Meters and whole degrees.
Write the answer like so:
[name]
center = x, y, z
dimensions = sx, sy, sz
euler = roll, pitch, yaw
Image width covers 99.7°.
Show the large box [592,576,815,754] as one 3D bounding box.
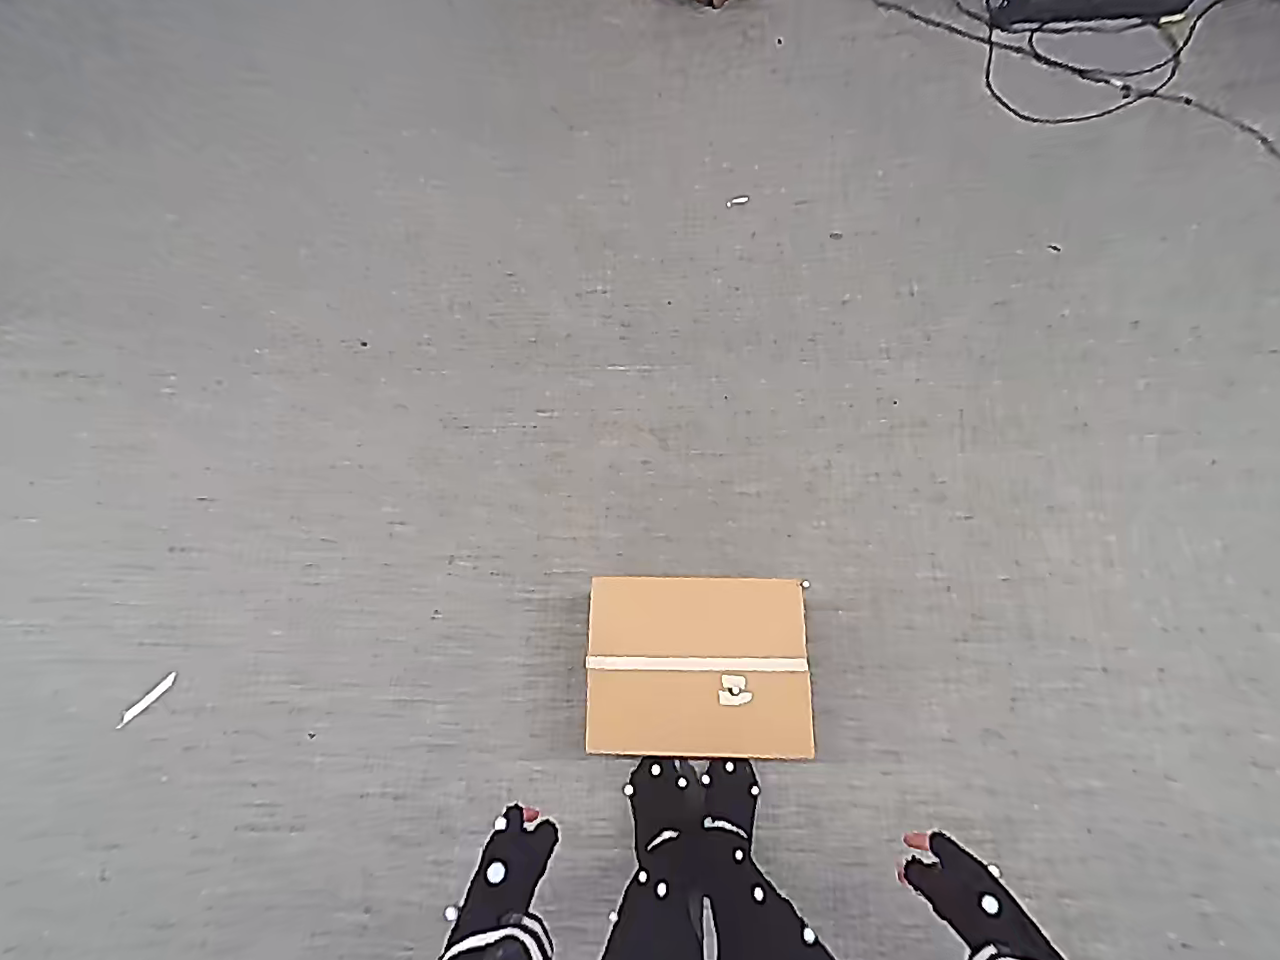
[large box]
center = 0.113, 0.376, 1.138
dimensions = 0.408, 0.320, 0.320
euler = 0, 74, 2
